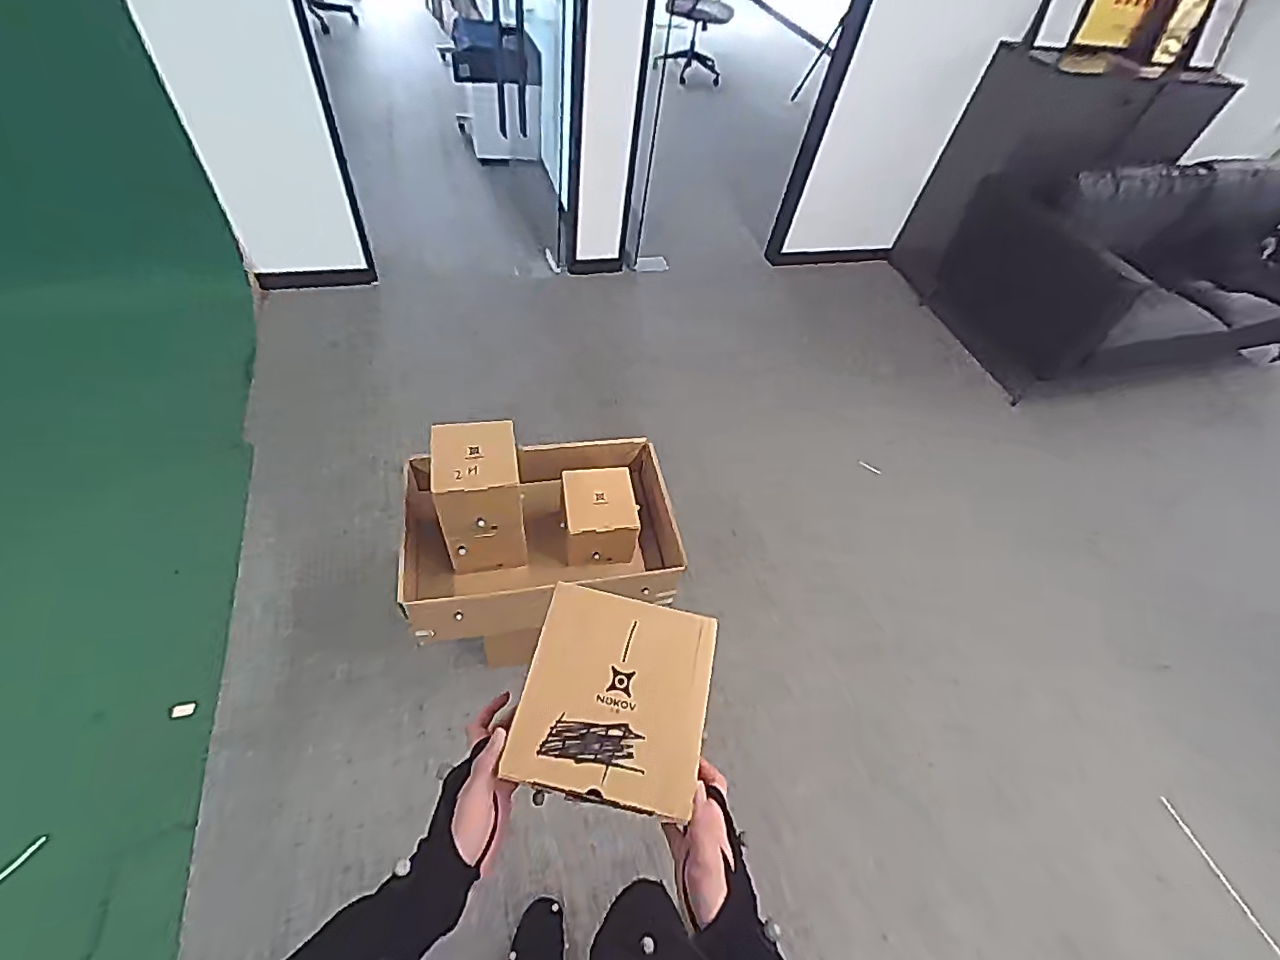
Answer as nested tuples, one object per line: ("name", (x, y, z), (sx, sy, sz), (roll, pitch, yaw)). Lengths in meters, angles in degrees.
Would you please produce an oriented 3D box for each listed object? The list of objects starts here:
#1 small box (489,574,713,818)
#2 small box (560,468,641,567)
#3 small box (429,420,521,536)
("small box", (-0.033, 0.222, 0.547), (0.168, 0.176, 0.179), (14, 58, 1))
("small box", (-0.104, 0.091, 1.318), (0.168, 0.176, 0.179), (-4, 54, -13))
("small box", (-0.343, -0.004, 1.138), (0.168, 0.176, 0.179), (-5, 54, -13))
